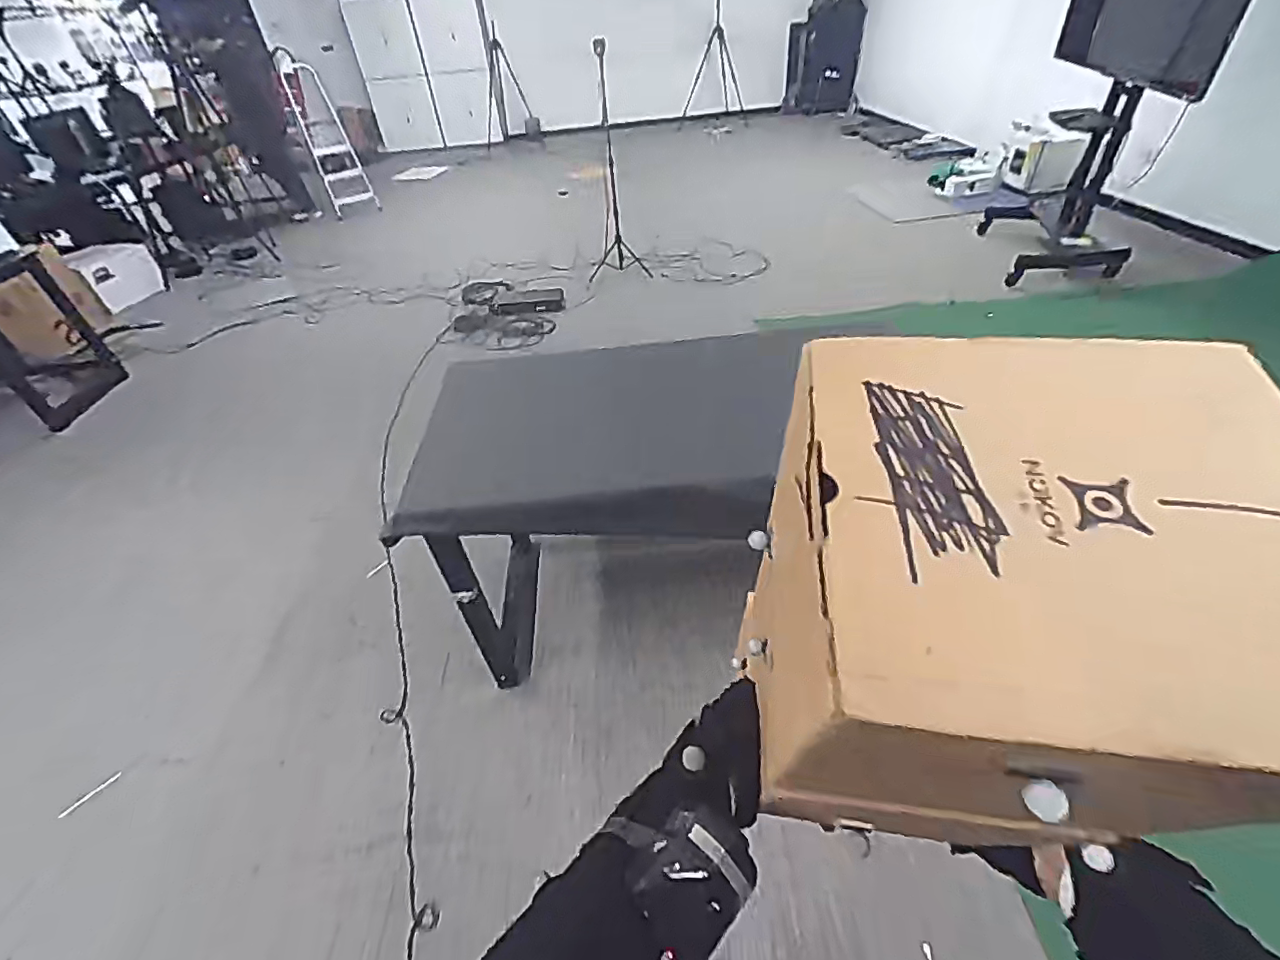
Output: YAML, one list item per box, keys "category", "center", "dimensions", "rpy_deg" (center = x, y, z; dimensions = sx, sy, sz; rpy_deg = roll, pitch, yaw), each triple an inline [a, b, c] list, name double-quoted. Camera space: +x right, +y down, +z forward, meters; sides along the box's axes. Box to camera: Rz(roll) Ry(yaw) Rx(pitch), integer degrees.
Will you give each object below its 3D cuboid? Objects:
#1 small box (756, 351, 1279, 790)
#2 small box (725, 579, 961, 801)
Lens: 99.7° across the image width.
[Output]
- category: "small box"
  center: [0.155, 0.053, 0.281]
  dimensions: [0.179, 0.176, 0.168]
  rpy_deg: [3, 56, 8]
- category: "small box"
  center: [0.183, 0.216, 0.544]
  dimensions: [0.179, 0.176, 0.168]
  rpy_deg: [3, 55, 7]
